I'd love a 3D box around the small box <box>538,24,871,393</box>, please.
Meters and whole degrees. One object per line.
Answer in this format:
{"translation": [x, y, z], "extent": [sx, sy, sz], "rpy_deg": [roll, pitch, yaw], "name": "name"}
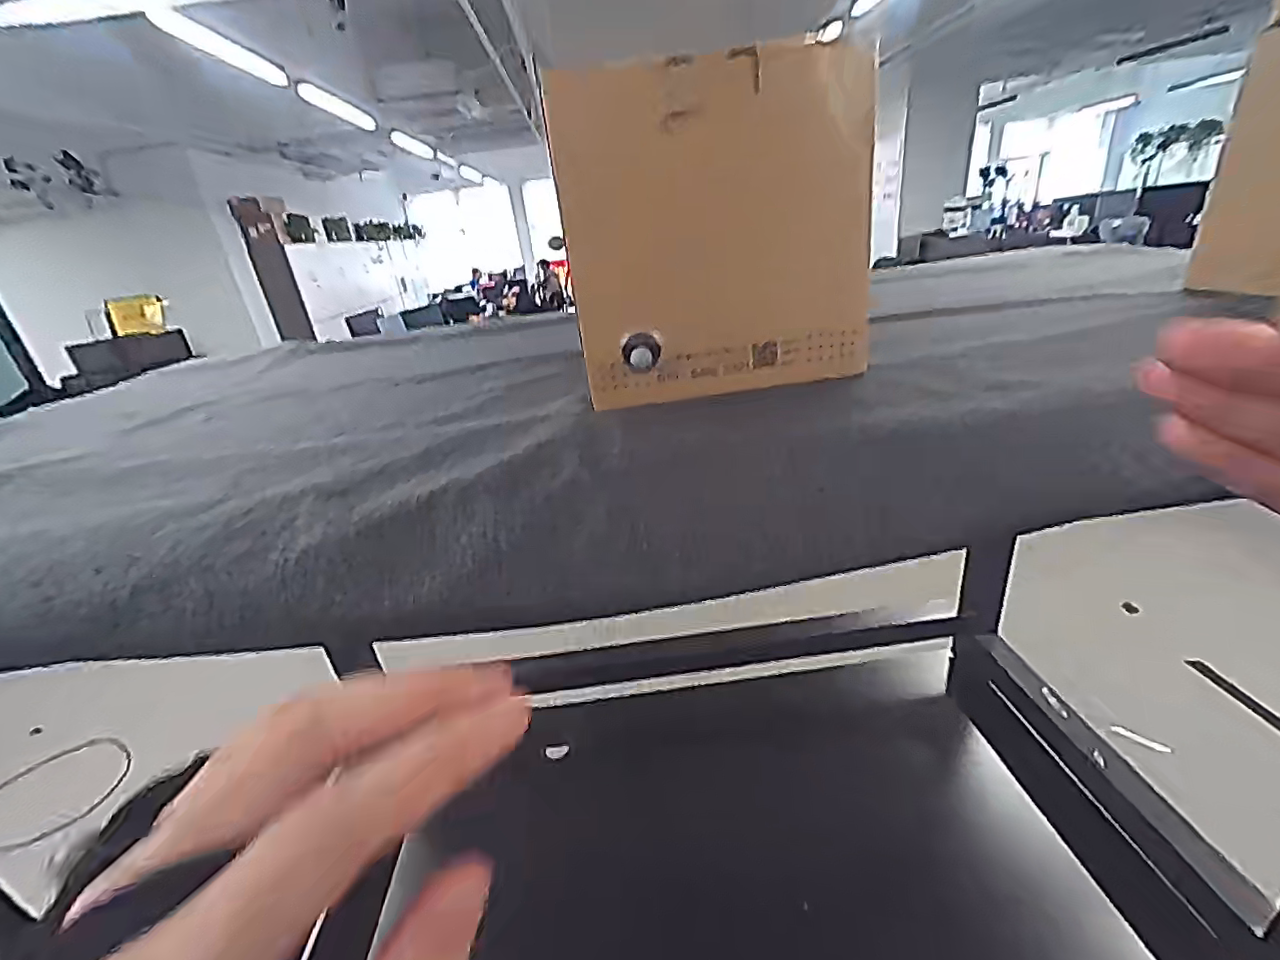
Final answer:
{"translation": [0.036, -0.160, 0.362], "extent": [0.168, 0.176, 0.179], "rpy_deg": [-8, 22, -2], "name": "small box"}
